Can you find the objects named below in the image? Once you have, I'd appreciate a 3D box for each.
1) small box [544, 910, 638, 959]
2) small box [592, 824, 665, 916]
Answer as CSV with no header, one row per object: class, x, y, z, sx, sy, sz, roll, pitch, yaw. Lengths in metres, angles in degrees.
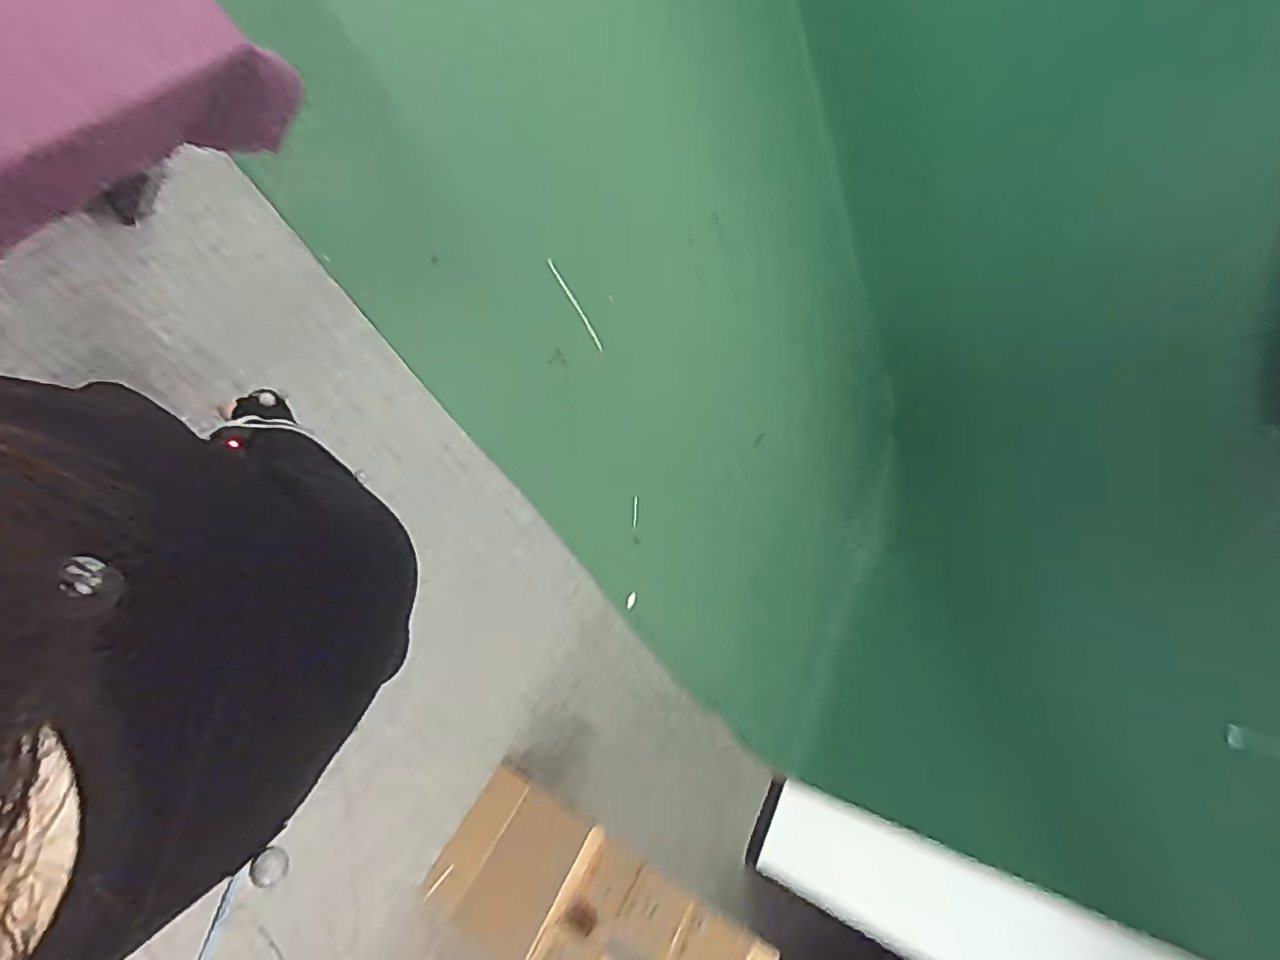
small box,-0.125,1.270,1.401,0.168,0.176,0.179,-51,126,-34
small box,-0.004,1.112,1.524,0.168,0.176,0.179,-53,127,-28
